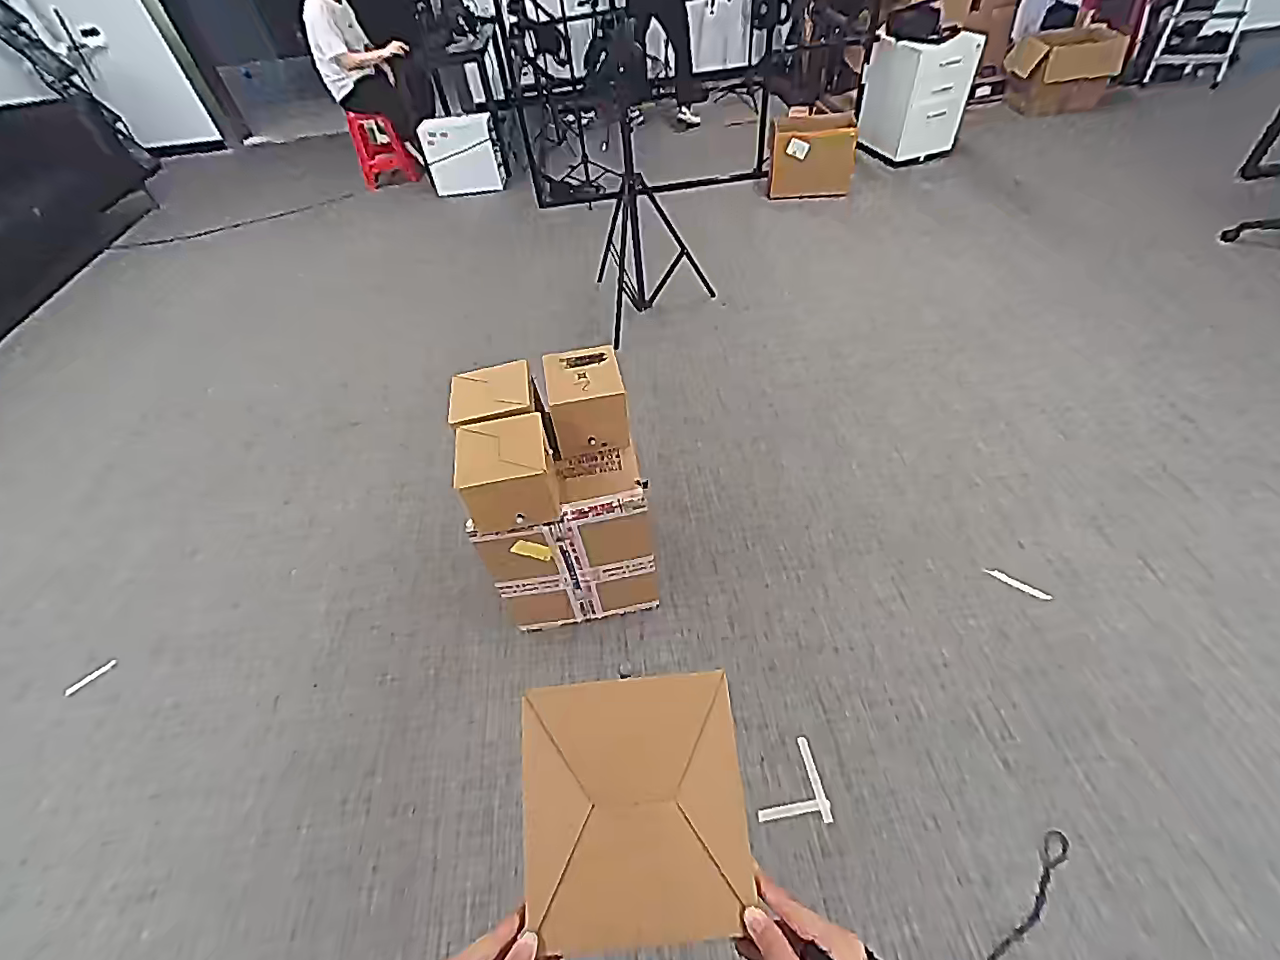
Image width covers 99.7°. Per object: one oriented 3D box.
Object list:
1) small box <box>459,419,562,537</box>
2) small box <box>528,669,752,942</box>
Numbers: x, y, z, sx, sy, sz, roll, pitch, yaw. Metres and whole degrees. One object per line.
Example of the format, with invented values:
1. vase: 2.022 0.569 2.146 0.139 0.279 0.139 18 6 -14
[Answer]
1. small box: -0.272 -0.007 1.132 0.179 0.176 0.168 -11 51 -3
2. small box: -0.002 0.271 0.485 0.168 0.176 0.179 -5 70 -1
